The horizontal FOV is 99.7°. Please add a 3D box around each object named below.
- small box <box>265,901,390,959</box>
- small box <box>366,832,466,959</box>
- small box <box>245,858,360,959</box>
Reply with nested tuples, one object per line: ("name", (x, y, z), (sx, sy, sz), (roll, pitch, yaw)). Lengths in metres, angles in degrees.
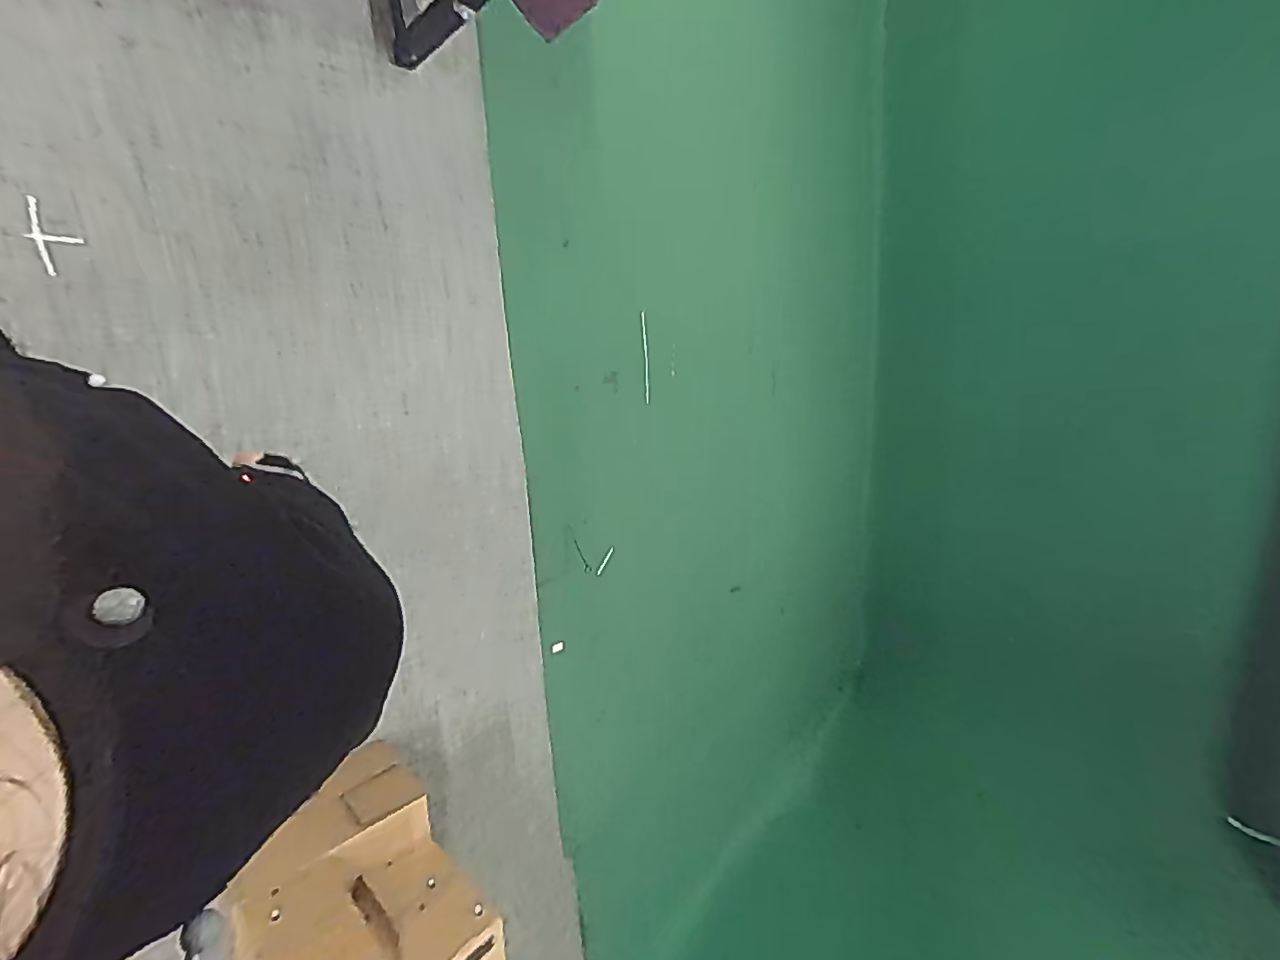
("small box", (-0.573, 0.933, 0.979), (0.179, 0.176, 0.168), (-6, 102, -46))
("small box", (-0.531, 0.991, 1.279), (0.168, 0.176, 0.179), (-8, 105, -48))
("small box", (-0.684, 0.918, 1.098), (0.168, 0.176, 0.179), (-6, 103, -45))
